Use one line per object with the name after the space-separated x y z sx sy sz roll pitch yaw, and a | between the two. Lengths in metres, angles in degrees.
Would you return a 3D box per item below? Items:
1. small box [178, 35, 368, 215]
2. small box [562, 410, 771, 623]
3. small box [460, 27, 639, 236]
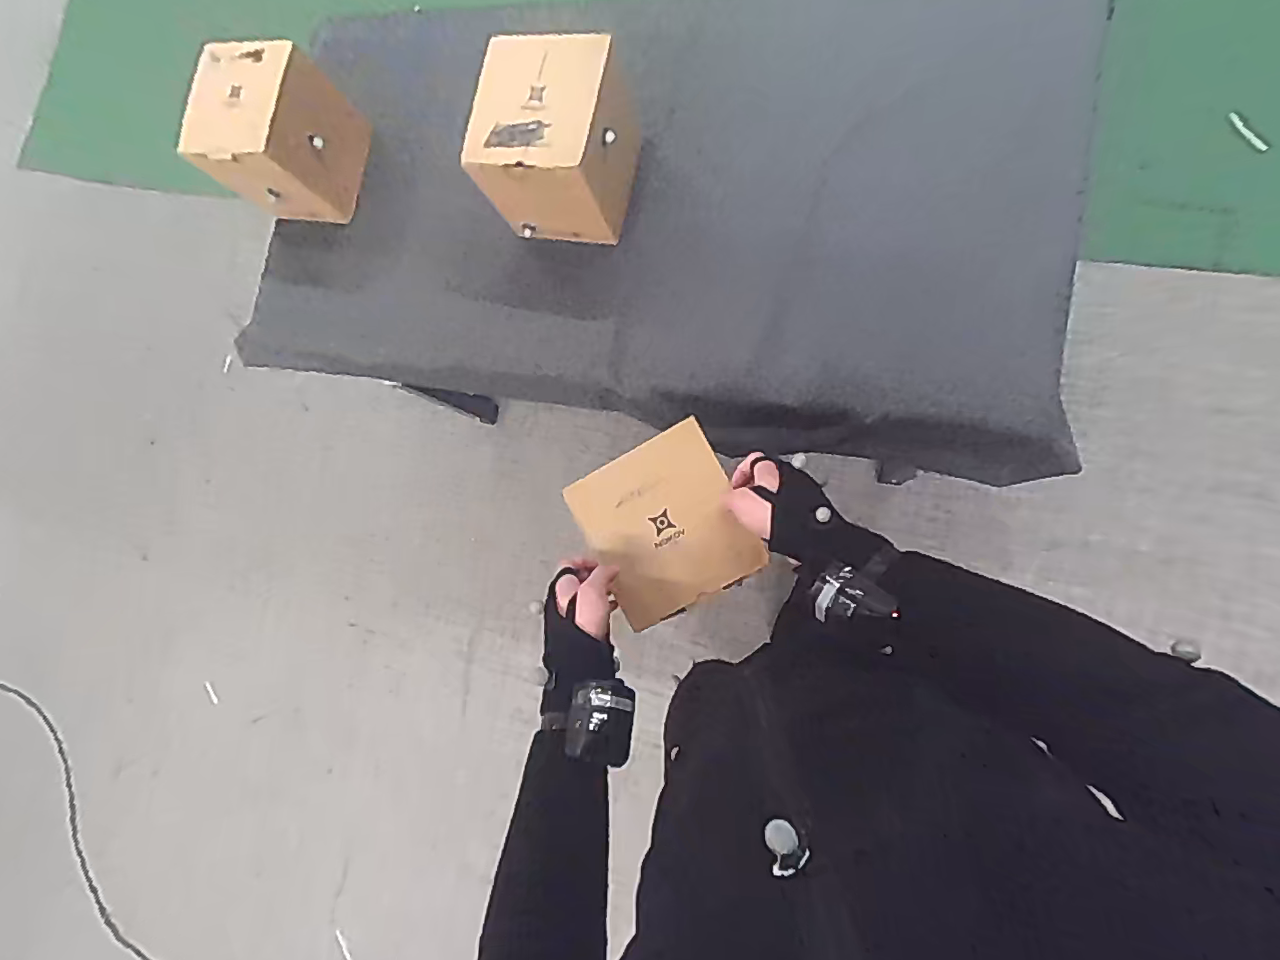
-0.560 -0.542 0.846 0.168 0.176 0.179 10 87 13 | small box
0.038 0.039 0.639 0.168 0.176 0.179 -29 84 7 | small box
-0.109 -0.455 0.728 0.168 0.176 0.179 12 86 14 | small box
